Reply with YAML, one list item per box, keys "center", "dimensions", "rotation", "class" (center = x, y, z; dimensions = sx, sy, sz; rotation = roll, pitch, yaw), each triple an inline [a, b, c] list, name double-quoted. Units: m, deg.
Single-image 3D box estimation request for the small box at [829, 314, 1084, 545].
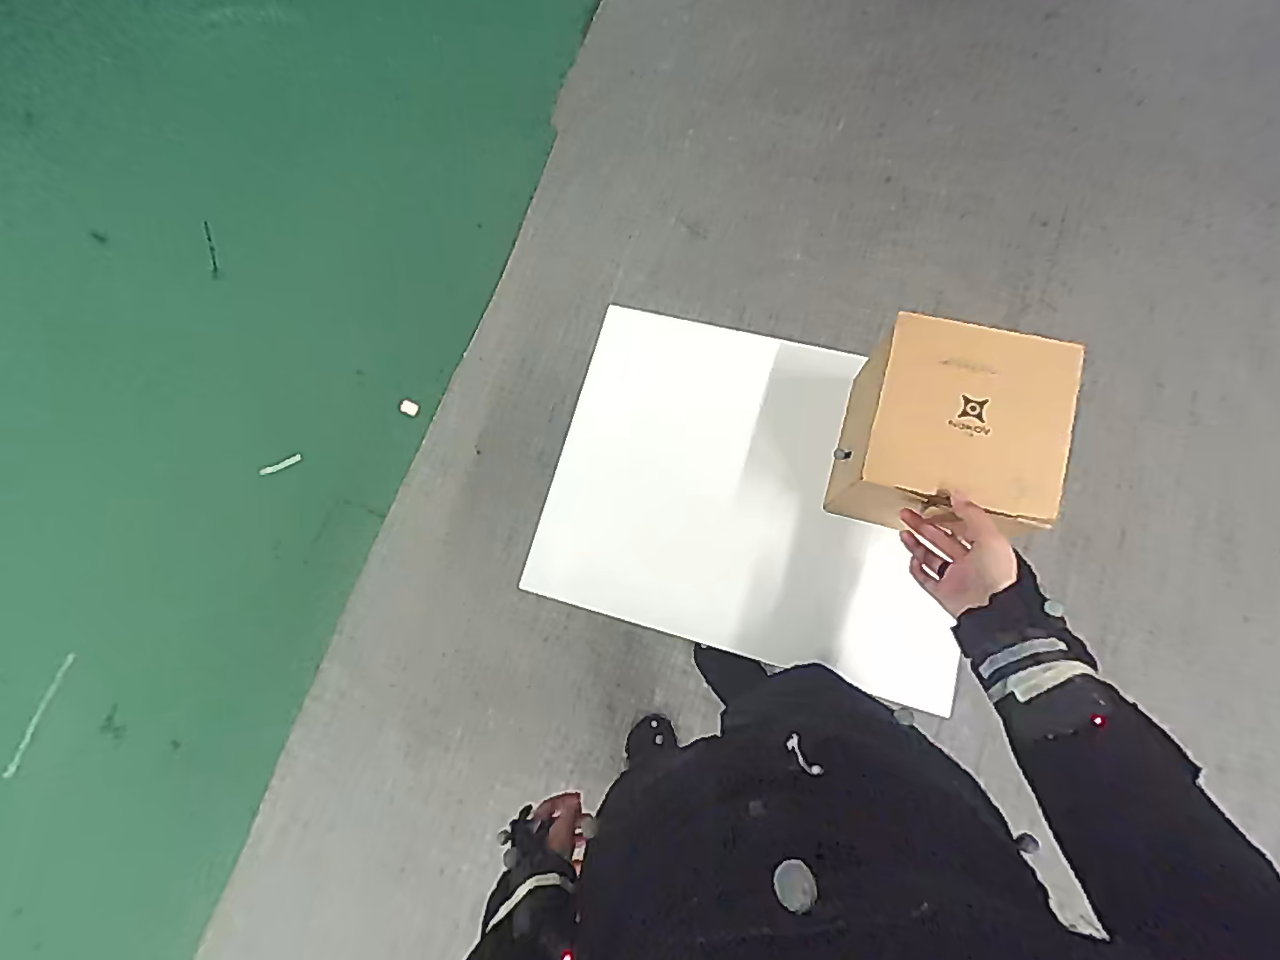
- center: [0.310, -0.040, 0.566]
  dimensions: [0.168, 0.176, 0.179]
  rotation: [15, 79, 9]
  class: "small box"
